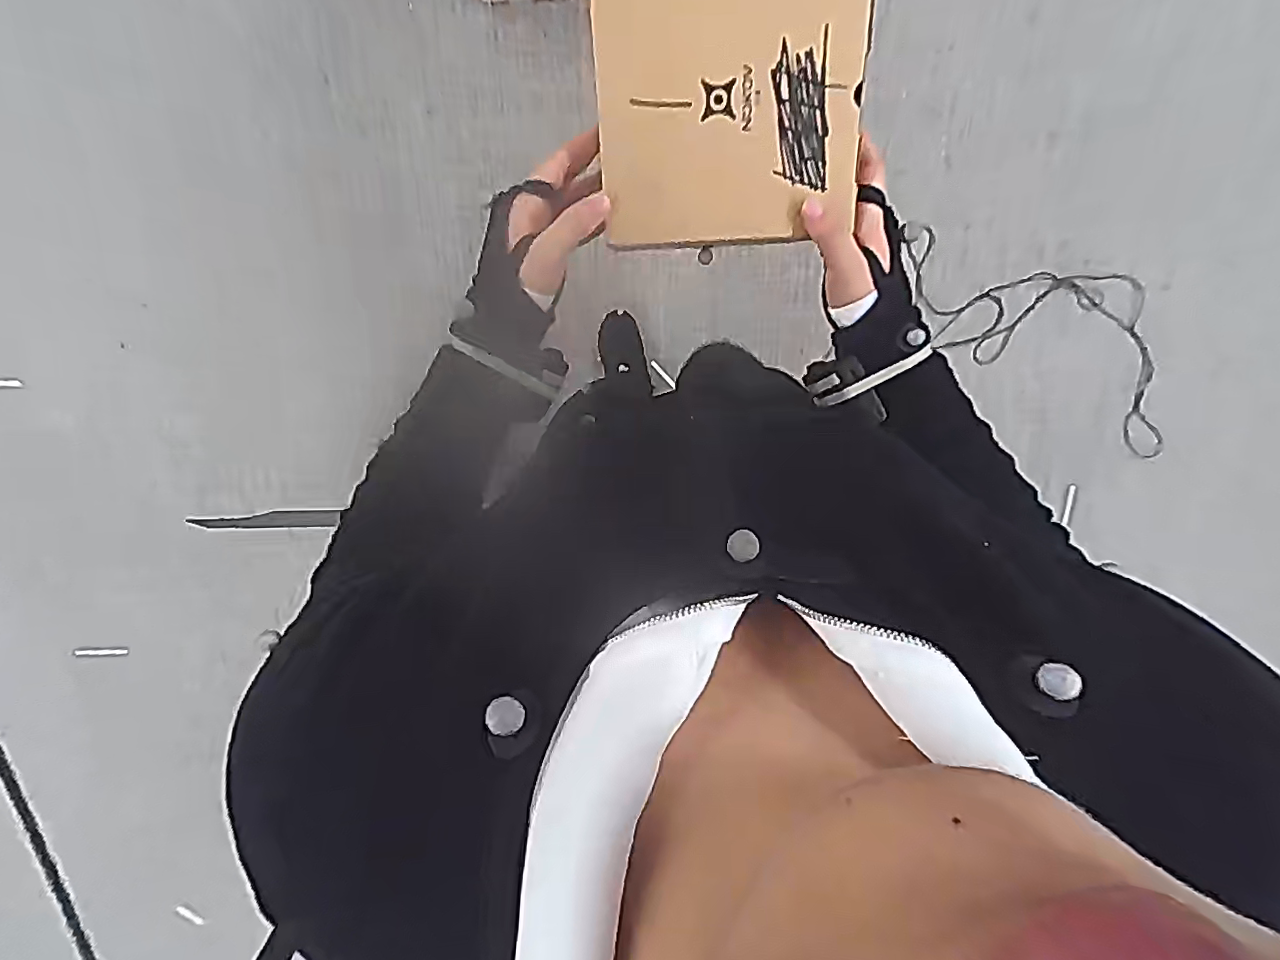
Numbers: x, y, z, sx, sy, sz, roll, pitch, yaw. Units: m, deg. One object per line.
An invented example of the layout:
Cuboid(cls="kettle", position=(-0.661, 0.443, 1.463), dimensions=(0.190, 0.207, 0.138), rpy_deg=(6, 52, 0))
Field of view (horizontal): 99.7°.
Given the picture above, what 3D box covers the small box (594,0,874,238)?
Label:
Cuboid(cls="small box", position=(0.058, -0.284, 0.421), dimensions=(0.179, 0.176, 0.168), rpy_deg=(-2, 112, 0))
